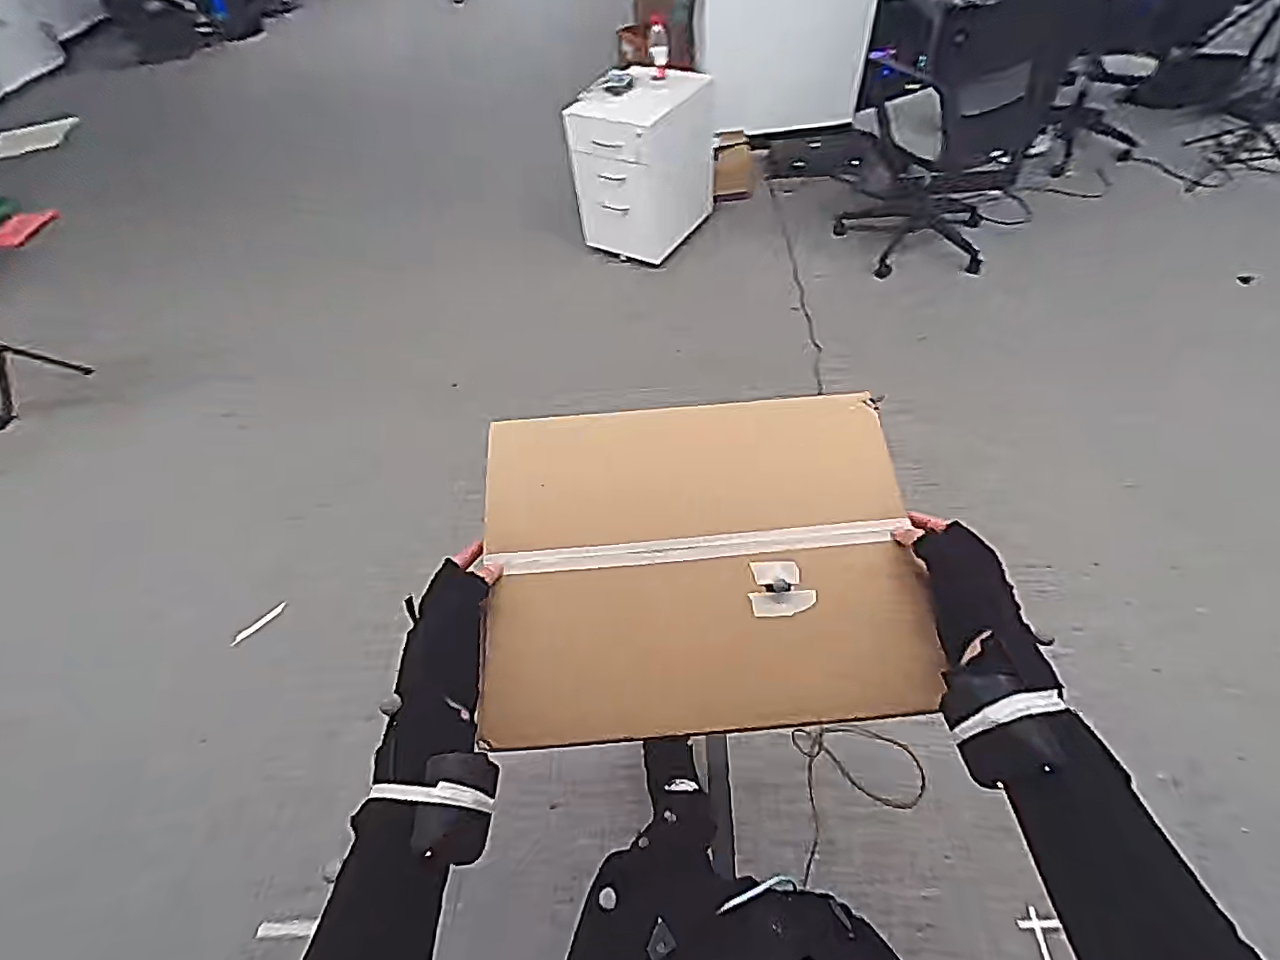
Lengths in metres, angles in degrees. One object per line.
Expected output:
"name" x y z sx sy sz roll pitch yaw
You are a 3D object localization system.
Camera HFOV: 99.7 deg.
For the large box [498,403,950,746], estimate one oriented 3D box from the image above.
"large box" 0.063 0.132 0.661 0.408 0.320 0.320 -4 66 -1
